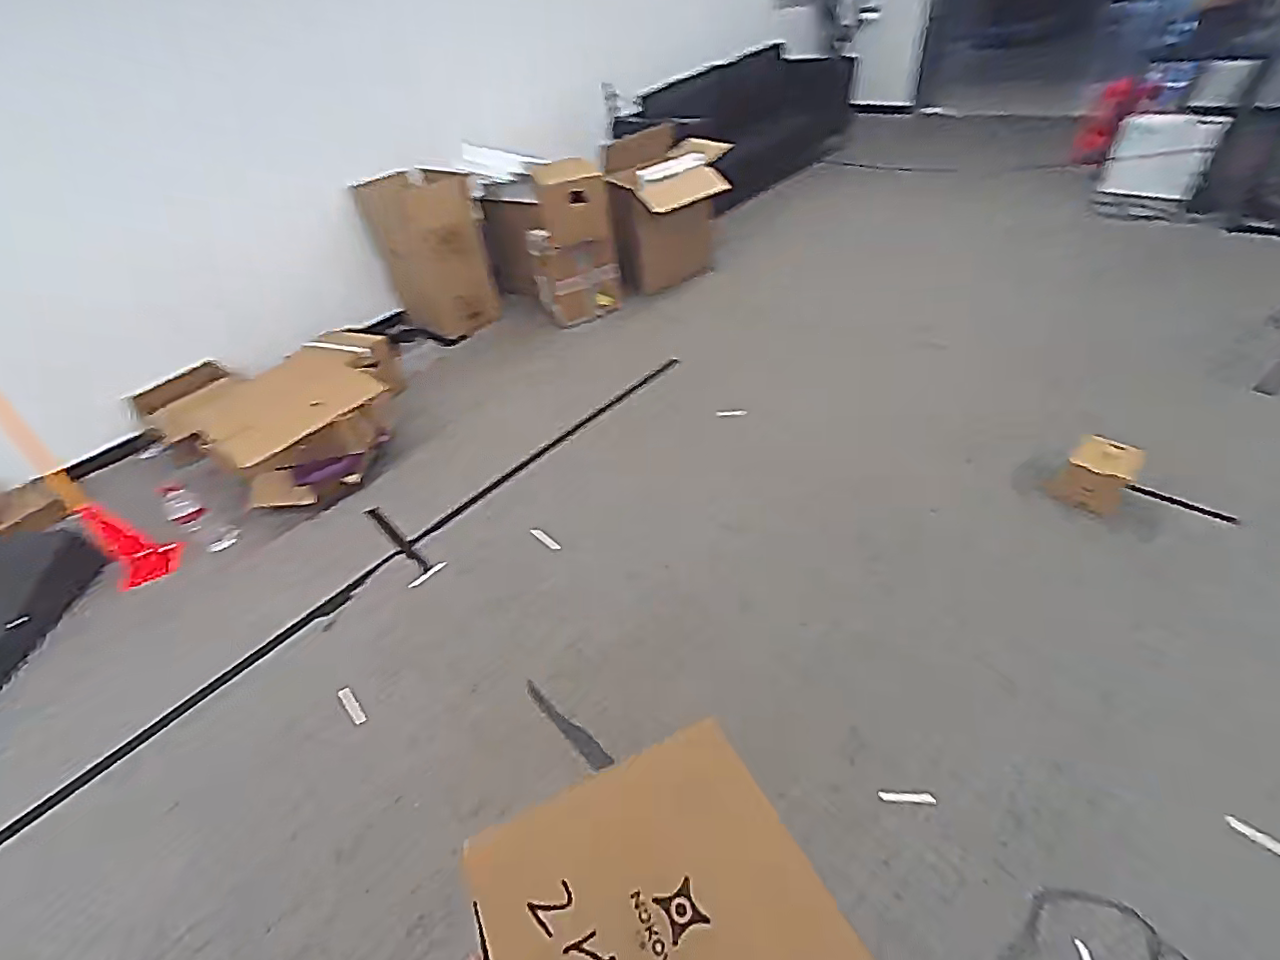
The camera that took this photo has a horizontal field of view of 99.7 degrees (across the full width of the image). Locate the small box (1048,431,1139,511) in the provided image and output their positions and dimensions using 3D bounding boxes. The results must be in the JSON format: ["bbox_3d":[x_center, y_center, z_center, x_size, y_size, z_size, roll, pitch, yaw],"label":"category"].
[{"bbox_3d":[1.507,-0.027,1.808,0.179,0.176,0.168,-39,50,-25],"label":"small box"}]

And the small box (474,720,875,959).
[{"bbox_3d":[0.009,0.290,0.332,0.179,0.176,0.168,-13,41,-24],"label":"small box"}]
